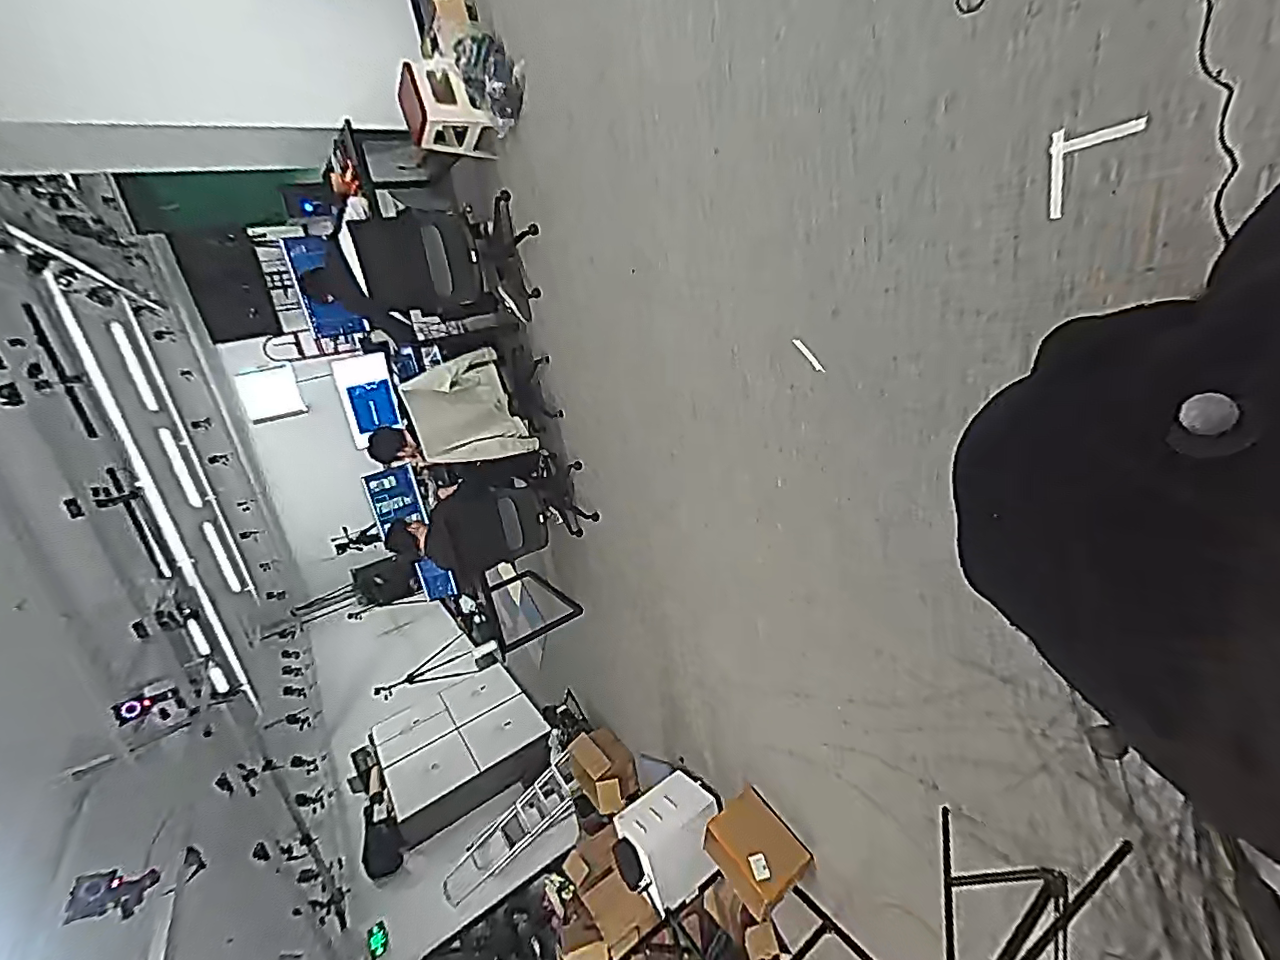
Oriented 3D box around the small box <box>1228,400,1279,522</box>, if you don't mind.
[{"bbox_3d":[1.152,-0.035,0.929,0.168,0.176,0.179,3,111,57],"label":"small box"}]
